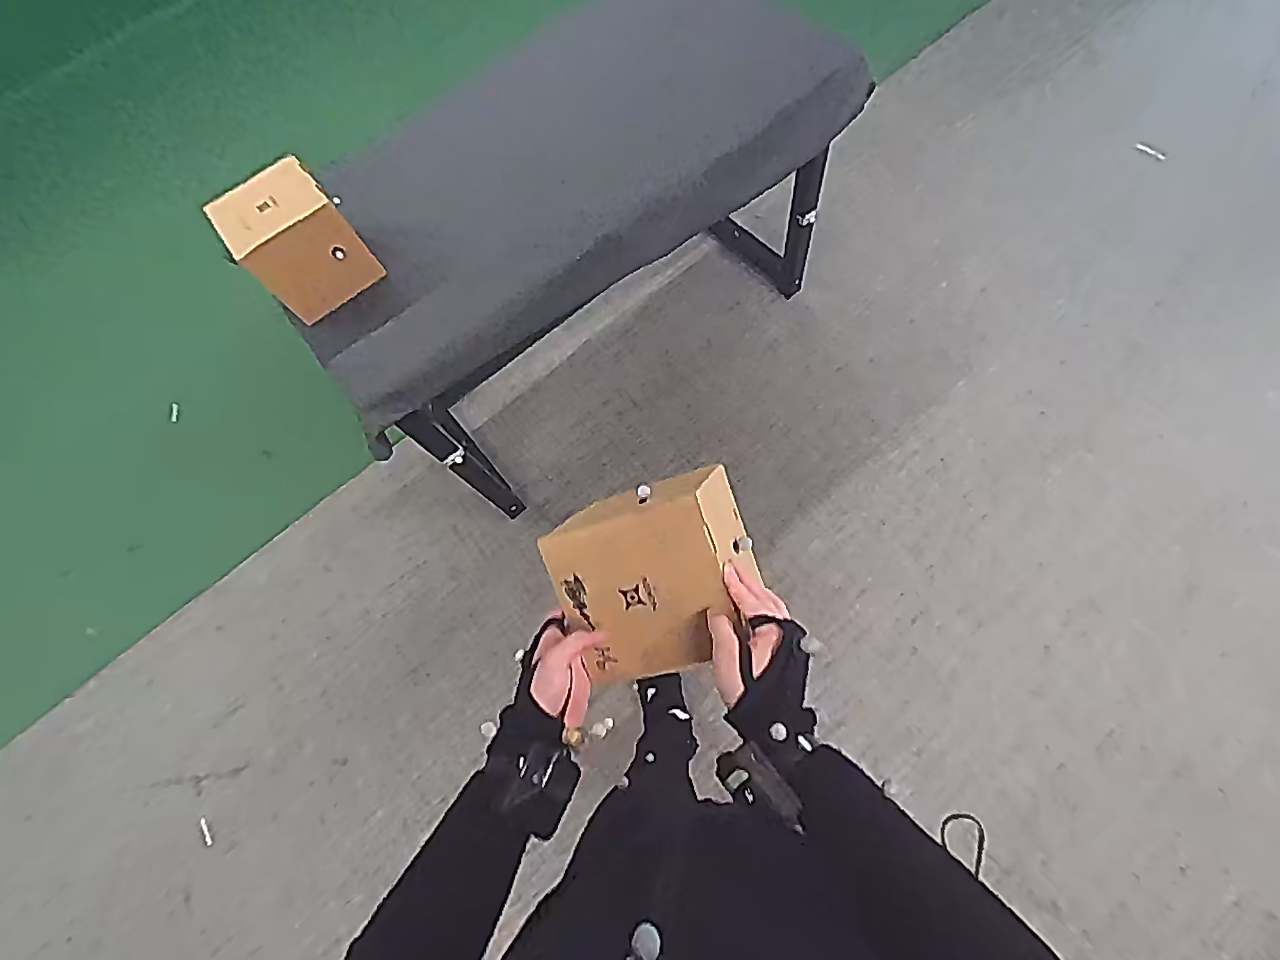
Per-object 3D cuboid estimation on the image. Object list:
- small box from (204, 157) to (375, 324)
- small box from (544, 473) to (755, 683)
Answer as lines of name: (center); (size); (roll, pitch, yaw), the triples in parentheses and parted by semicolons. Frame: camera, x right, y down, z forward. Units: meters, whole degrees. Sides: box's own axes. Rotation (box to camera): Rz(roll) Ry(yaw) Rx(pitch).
small box: (-0.605, -0.418, 0.958); (0.179, 0.176, 0.168); (-36, 66, -8)
small box: (0.024, 0.099, 0.609); (0.179, 0.176, 0.168); (-17, 94, 17)
